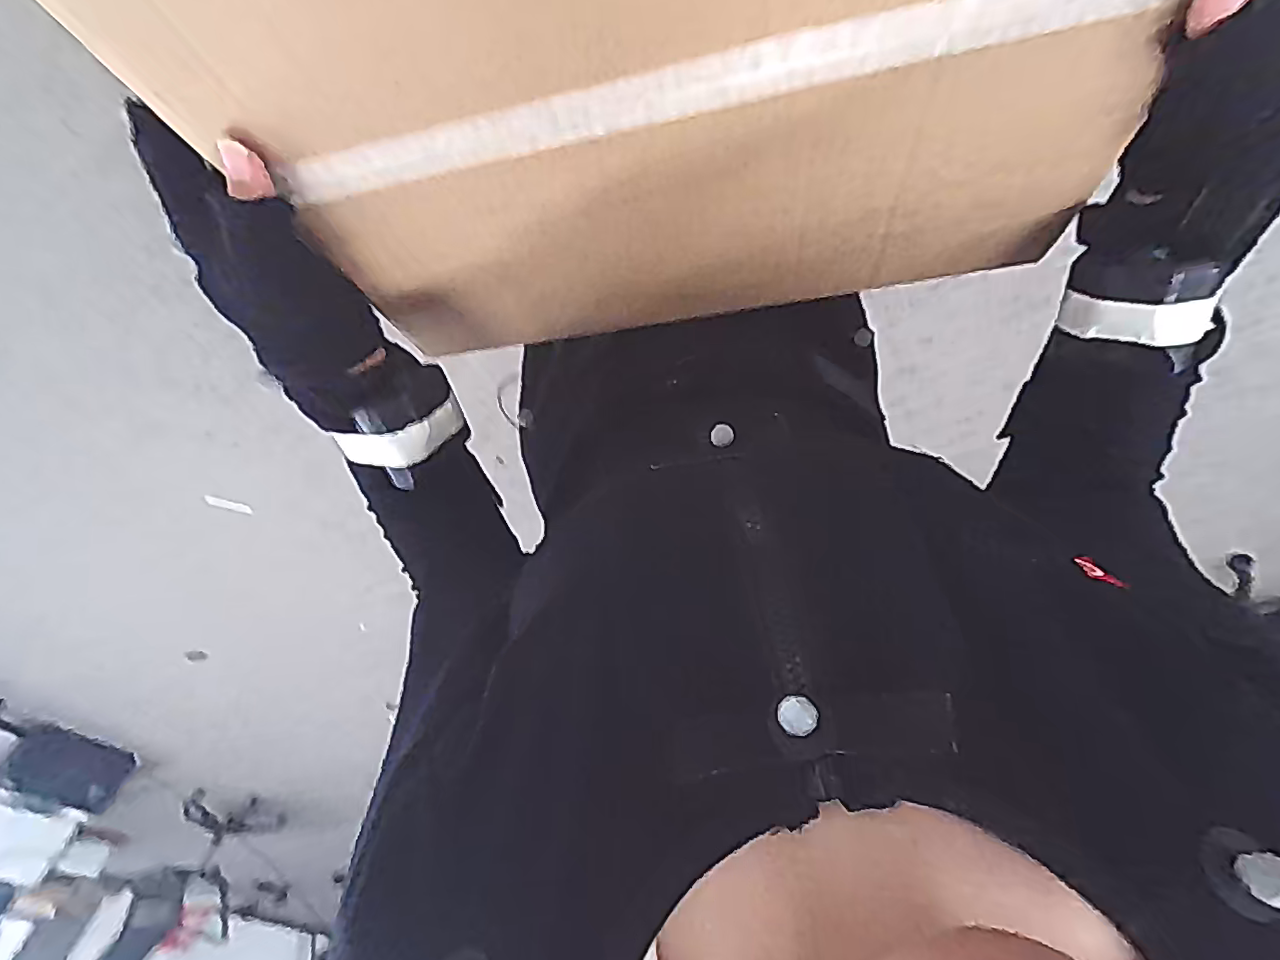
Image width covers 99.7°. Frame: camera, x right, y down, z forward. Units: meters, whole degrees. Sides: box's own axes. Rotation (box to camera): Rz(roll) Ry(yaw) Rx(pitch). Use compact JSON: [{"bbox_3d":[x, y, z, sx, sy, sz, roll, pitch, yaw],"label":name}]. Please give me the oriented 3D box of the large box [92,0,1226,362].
[{"bbox_3d":[0.013,-0.298,0.281,0.408,0.320,0.320,-6,162,9],"label":"large box"}]
